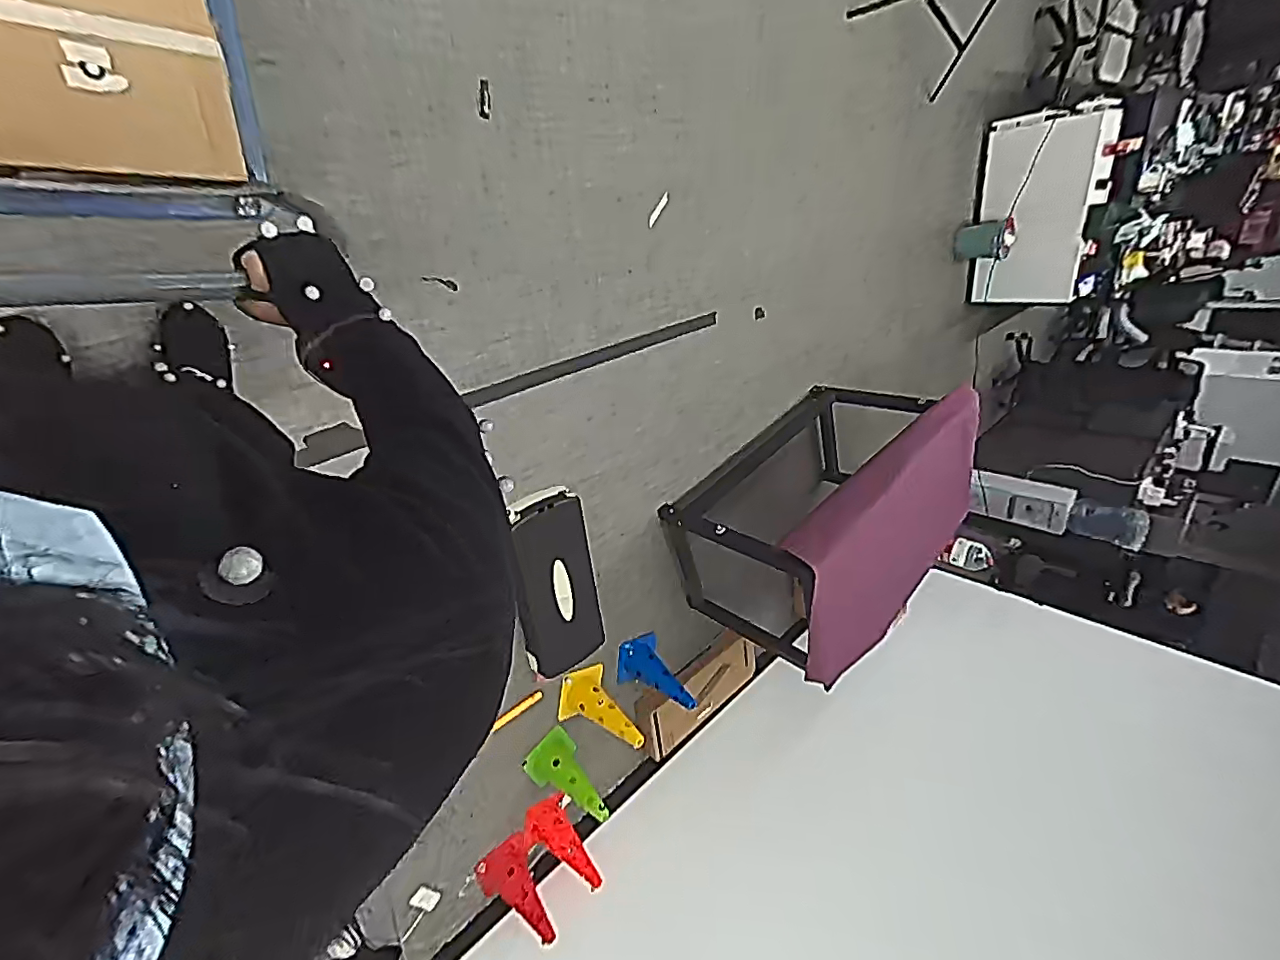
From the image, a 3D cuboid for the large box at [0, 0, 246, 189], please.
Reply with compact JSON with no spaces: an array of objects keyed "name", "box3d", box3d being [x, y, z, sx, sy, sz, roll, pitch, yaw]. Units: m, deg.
[{"name":"large box","box3d":[-0.807,-0.557,0.688,0.408,0.320,0.320,-19,125,-39]}]
